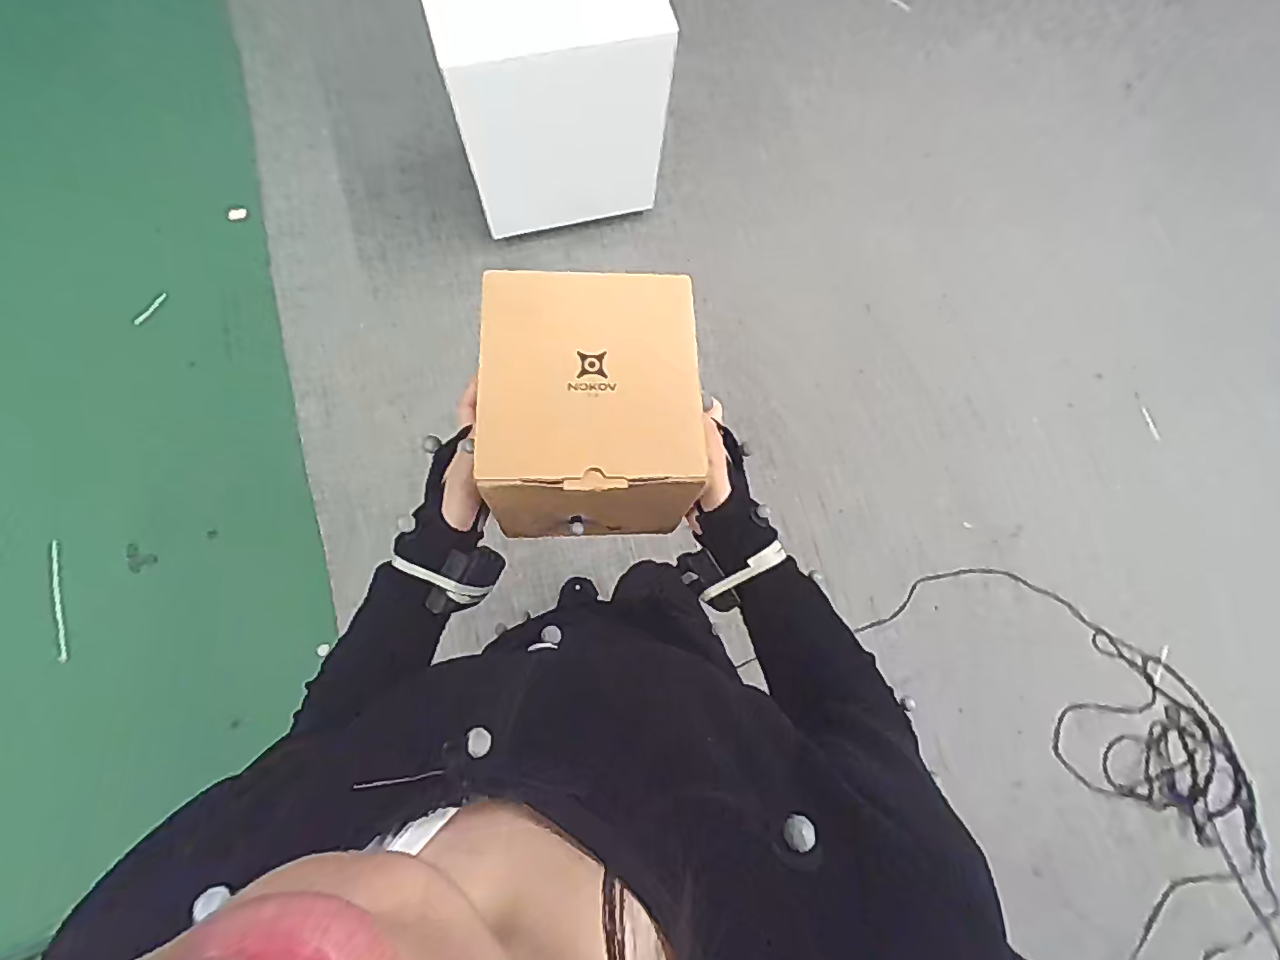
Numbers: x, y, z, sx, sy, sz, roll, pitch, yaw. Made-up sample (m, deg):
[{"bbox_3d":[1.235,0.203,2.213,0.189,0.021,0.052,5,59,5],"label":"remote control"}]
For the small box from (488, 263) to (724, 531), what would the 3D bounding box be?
[{"bbox_3d":[-0.034,-0.059,0.472,0.168,0.176,0.179,-1,72,-7],"label":"small box"}]
